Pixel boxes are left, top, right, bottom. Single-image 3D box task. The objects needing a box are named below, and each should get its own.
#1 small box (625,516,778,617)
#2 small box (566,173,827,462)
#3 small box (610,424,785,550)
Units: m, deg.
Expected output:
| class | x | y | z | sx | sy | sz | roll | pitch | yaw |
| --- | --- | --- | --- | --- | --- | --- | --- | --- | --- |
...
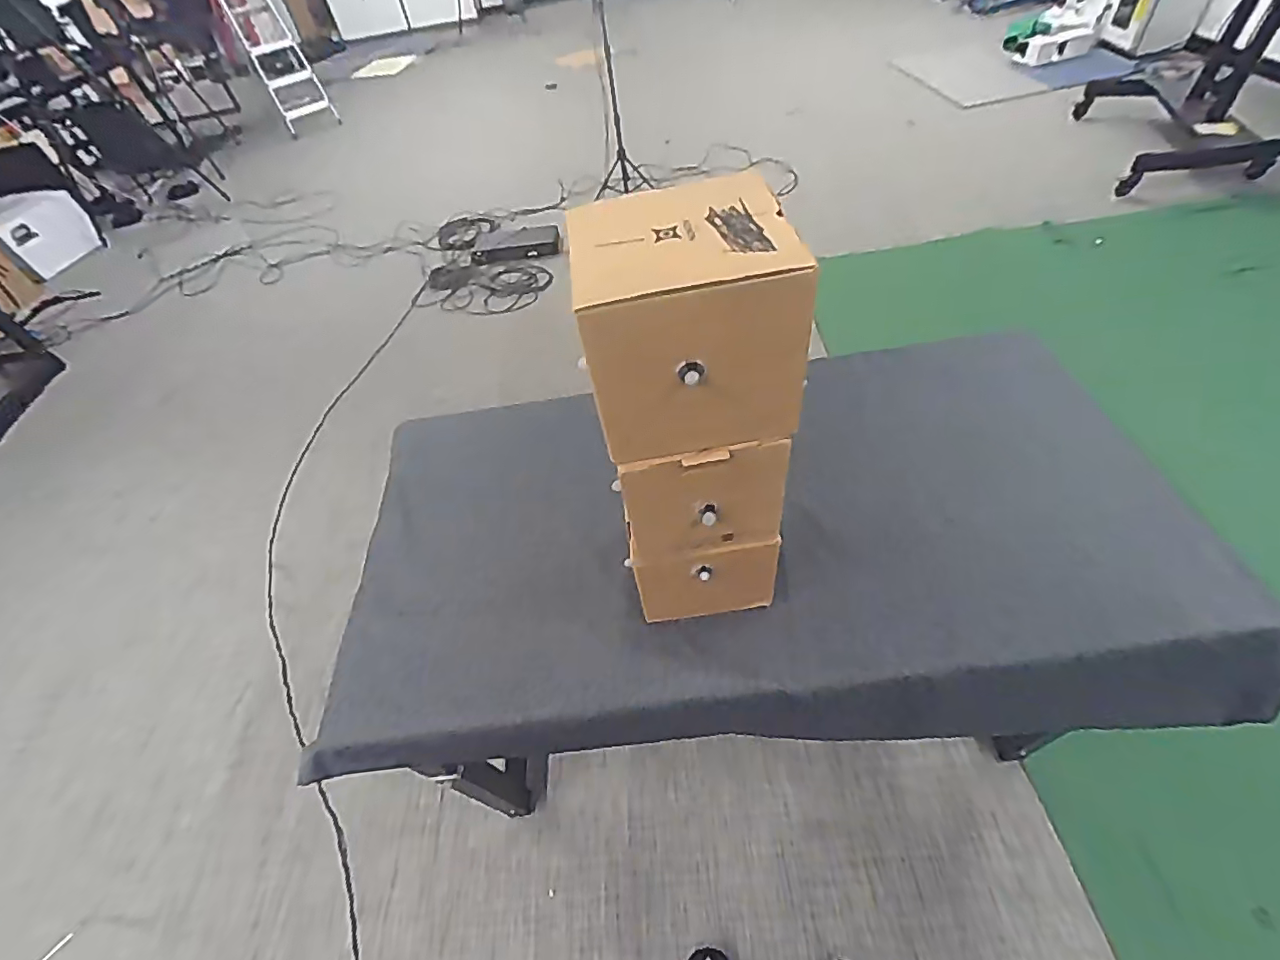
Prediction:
| class | x | y | z | sx | sy | sz | roll | pitch | yaw |
| --- | --- | --- | --- | --- | --- | --- | --- | --- | --- |
| small box | 0.076 | 0.071 | 0.731 | 0.179 | 0.176 | 0.168 | -8 | 51 | 1 |
| small box | 0.040 | -0.138 | 0.481 | 0.179 | 0.176 | 0.168 | -11 | 51 | -1 |
| small box | 0.056 | -0.035 | 0.609 | 0.168 | 0.176 | 0.179 | -10 | 51 | 1 |
